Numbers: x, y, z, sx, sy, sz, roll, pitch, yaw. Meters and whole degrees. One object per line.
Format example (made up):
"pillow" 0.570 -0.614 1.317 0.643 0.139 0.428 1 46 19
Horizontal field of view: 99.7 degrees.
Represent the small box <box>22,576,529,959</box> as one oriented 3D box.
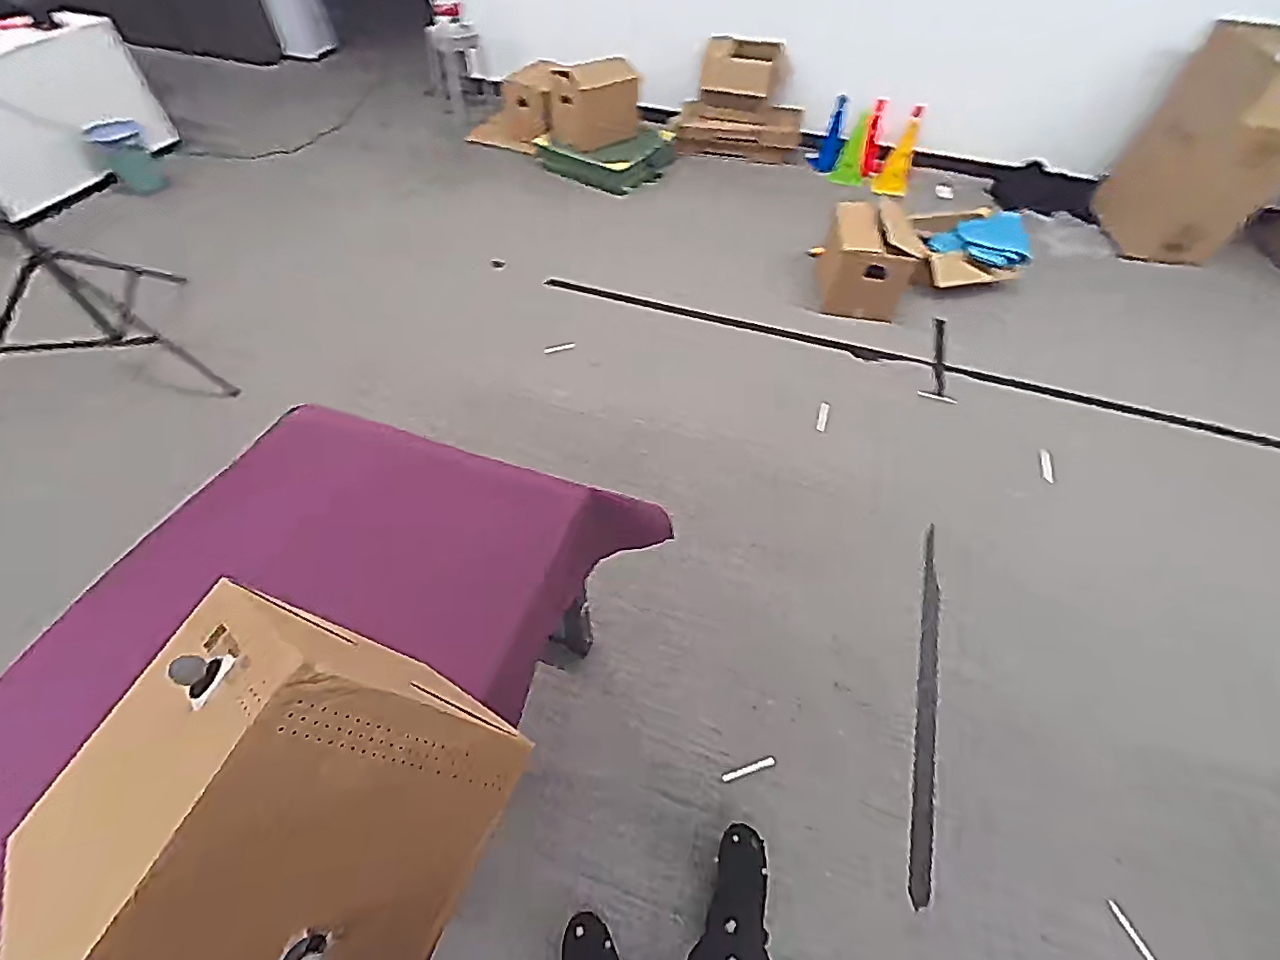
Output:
"small box" -0.203 0.183 0.333 0.168 0.179 0.176 6 59 43
